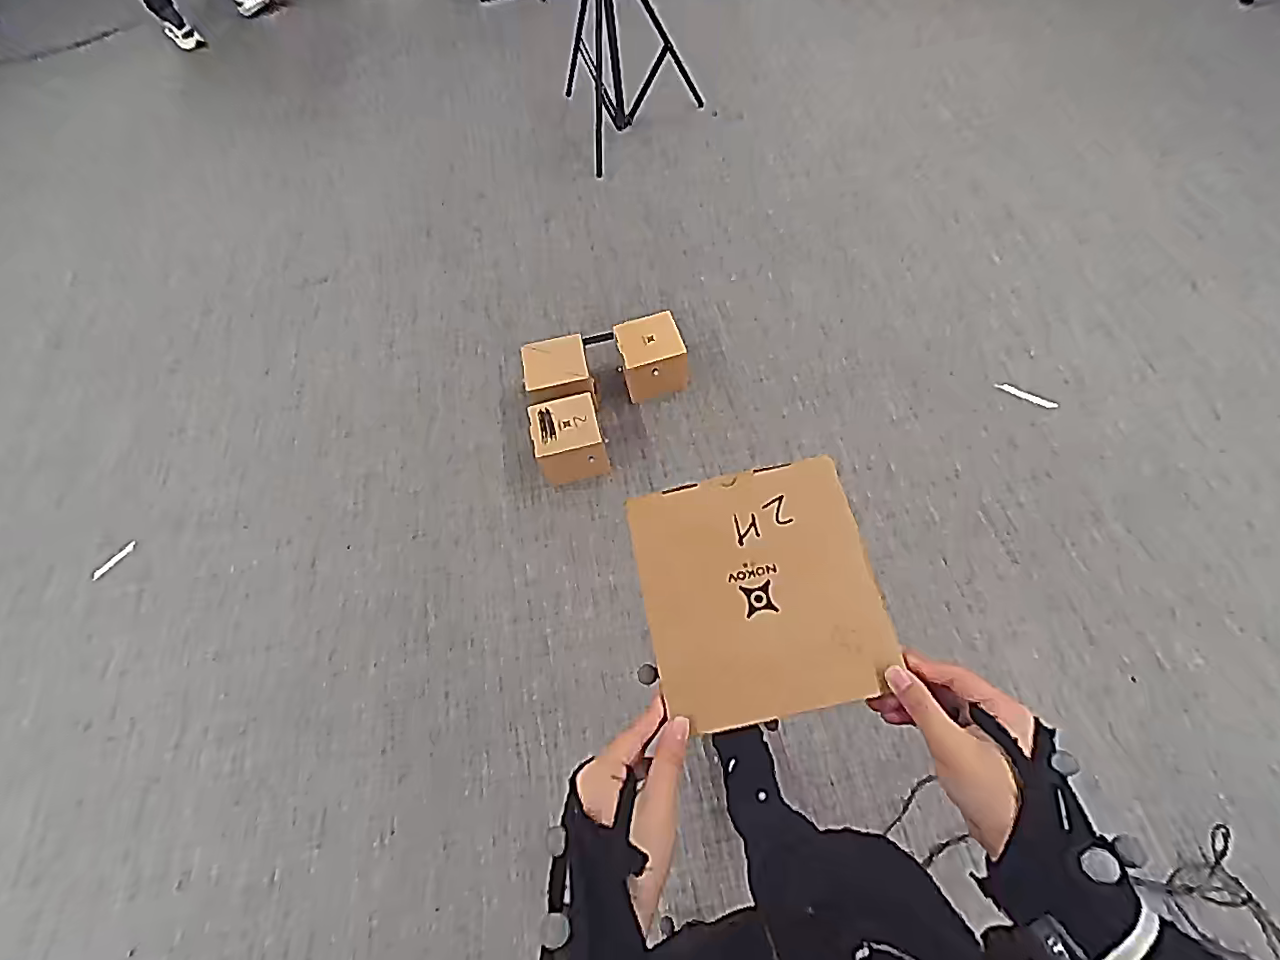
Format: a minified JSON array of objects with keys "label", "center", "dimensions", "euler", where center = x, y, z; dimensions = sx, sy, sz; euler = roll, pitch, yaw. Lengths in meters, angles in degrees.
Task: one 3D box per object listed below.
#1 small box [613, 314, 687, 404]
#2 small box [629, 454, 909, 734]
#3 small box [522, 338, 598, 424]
[{"label":"small box","center":[0.032,-0.351,1.590],"dimensions":[0.179,0.176,0.168],"euler":[-17,63,-2]},{"label":"small box","center":[0.093,0.102,0.465],"dimensions":[0.168,0.176,0.179],"euler":[-12,69,0]},{"label":"small box","center":[-0.231,-0.290,1.578],"dimensions":[0.179,0.176,0.168],"euler":[-12,62,-1]}]
